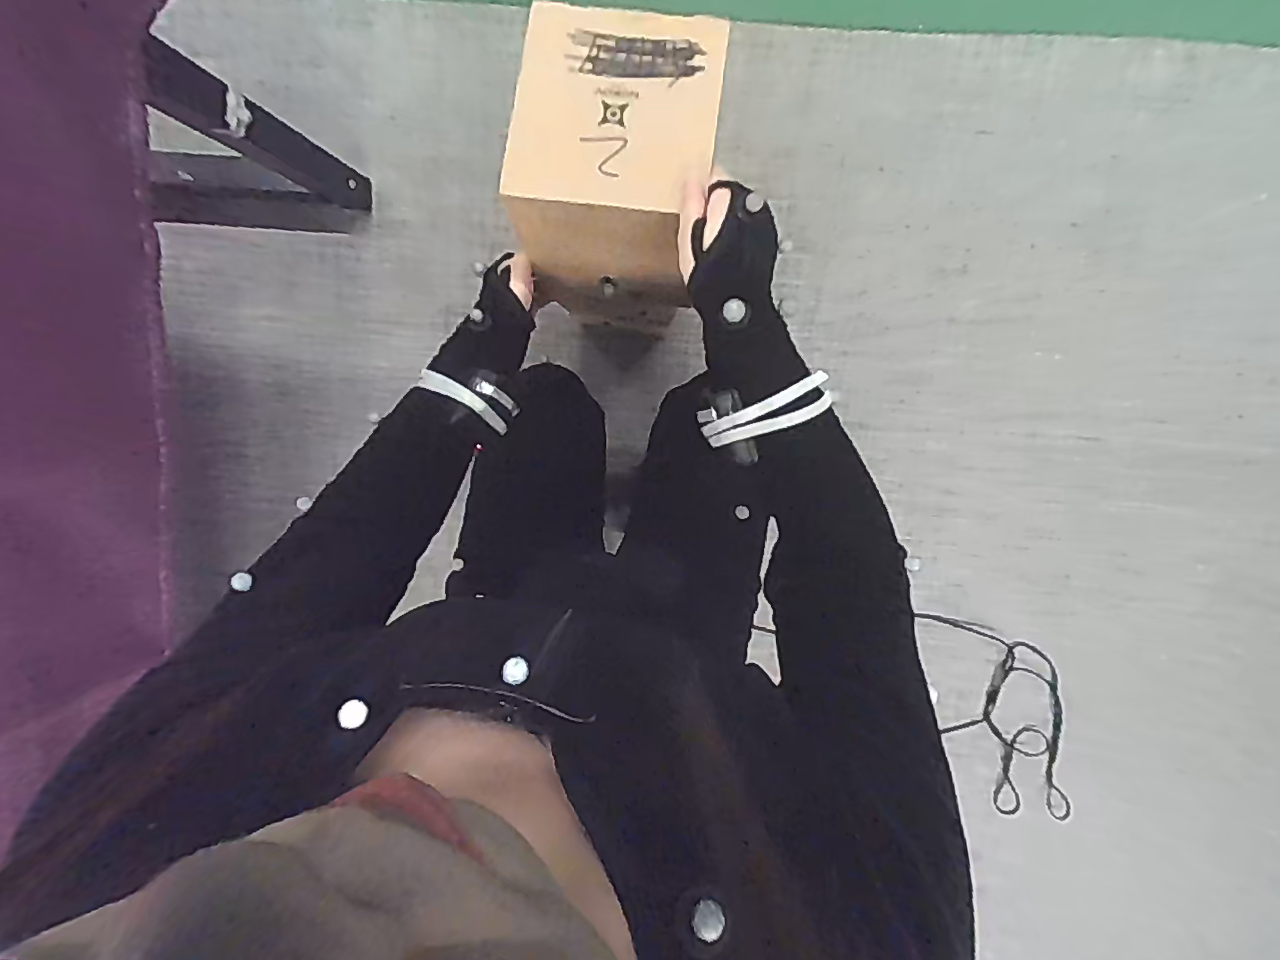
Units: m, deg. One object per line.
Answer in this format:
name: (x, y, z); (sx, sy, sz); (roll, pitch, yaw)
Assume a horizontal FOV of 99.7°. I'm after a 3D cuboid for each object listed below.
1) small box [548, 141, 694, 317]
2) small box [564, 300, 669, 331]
small box: (-0.024, -0.325, 0.736); (0.168, 0.176, 0.179); (6, 101, -1)
small box: (-0.023, -0.349, 0.898); (0.168, 0.176, 0.179); (9, 101, -1)
